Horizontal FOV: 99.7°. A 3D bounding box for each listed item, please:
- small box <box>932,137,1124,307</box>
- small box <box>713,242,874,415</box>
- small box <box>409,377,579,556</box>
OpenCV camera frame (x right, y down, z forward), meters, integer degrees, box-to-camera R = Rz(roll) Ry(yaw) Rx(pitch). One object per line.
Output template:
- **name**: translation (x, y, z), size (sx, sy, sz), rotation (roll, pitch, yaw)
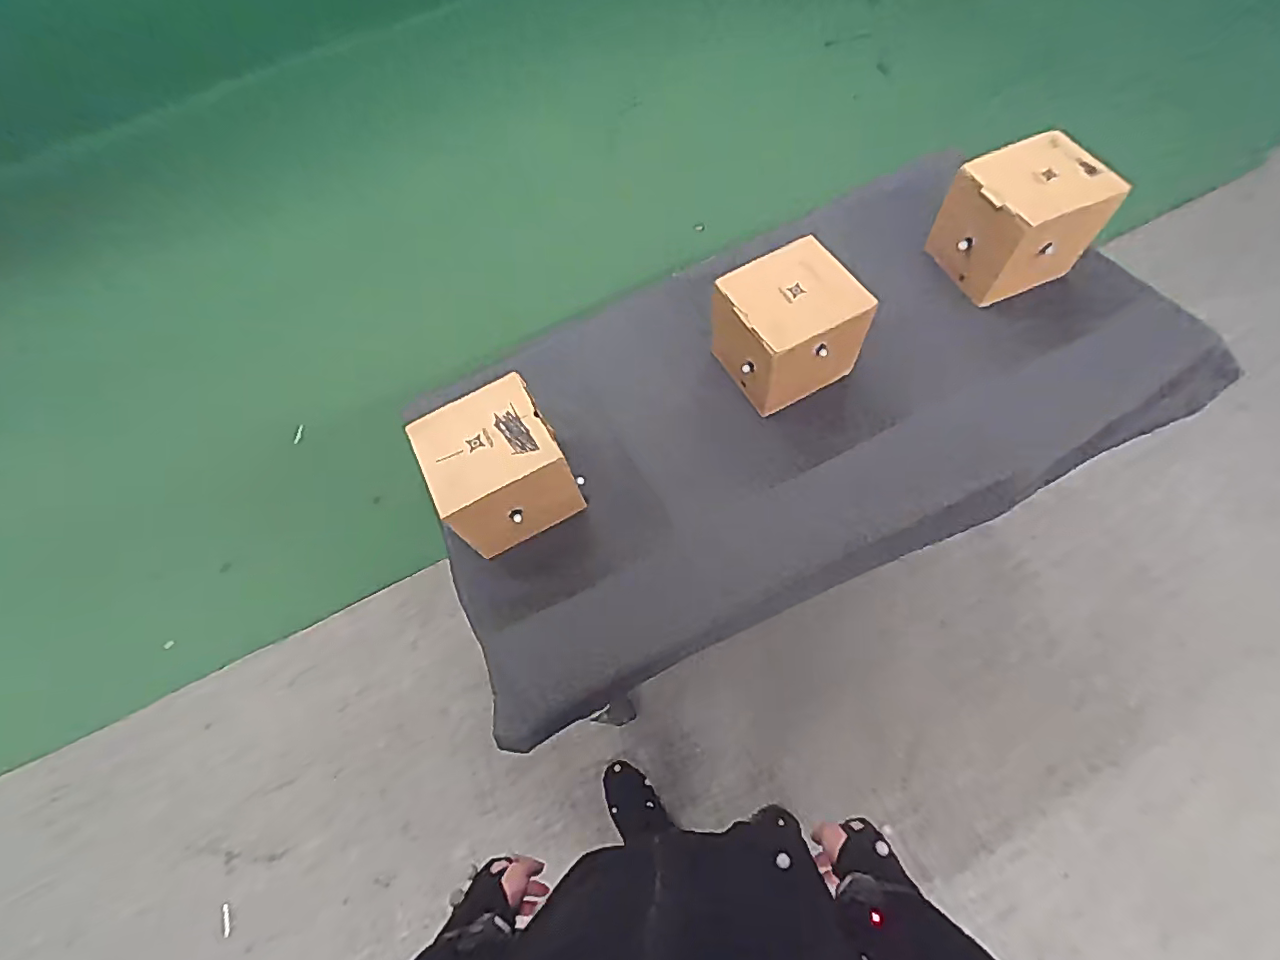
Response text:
- **small box**: translation (0.622, -0.421, 0.902), size (0.179, 0.176, 0.168), rotation (-22, 64, -3)
- **small box**: translation (0.231, -0.233, 0.861), size (0.179, 0.176, 0.168), rotation (-27, 65, -8)
- **small box**: translation (-0.203, -0.013, 0.800), size (0.179, 0.176, 0.168), rotation (-28, 64, -7)
